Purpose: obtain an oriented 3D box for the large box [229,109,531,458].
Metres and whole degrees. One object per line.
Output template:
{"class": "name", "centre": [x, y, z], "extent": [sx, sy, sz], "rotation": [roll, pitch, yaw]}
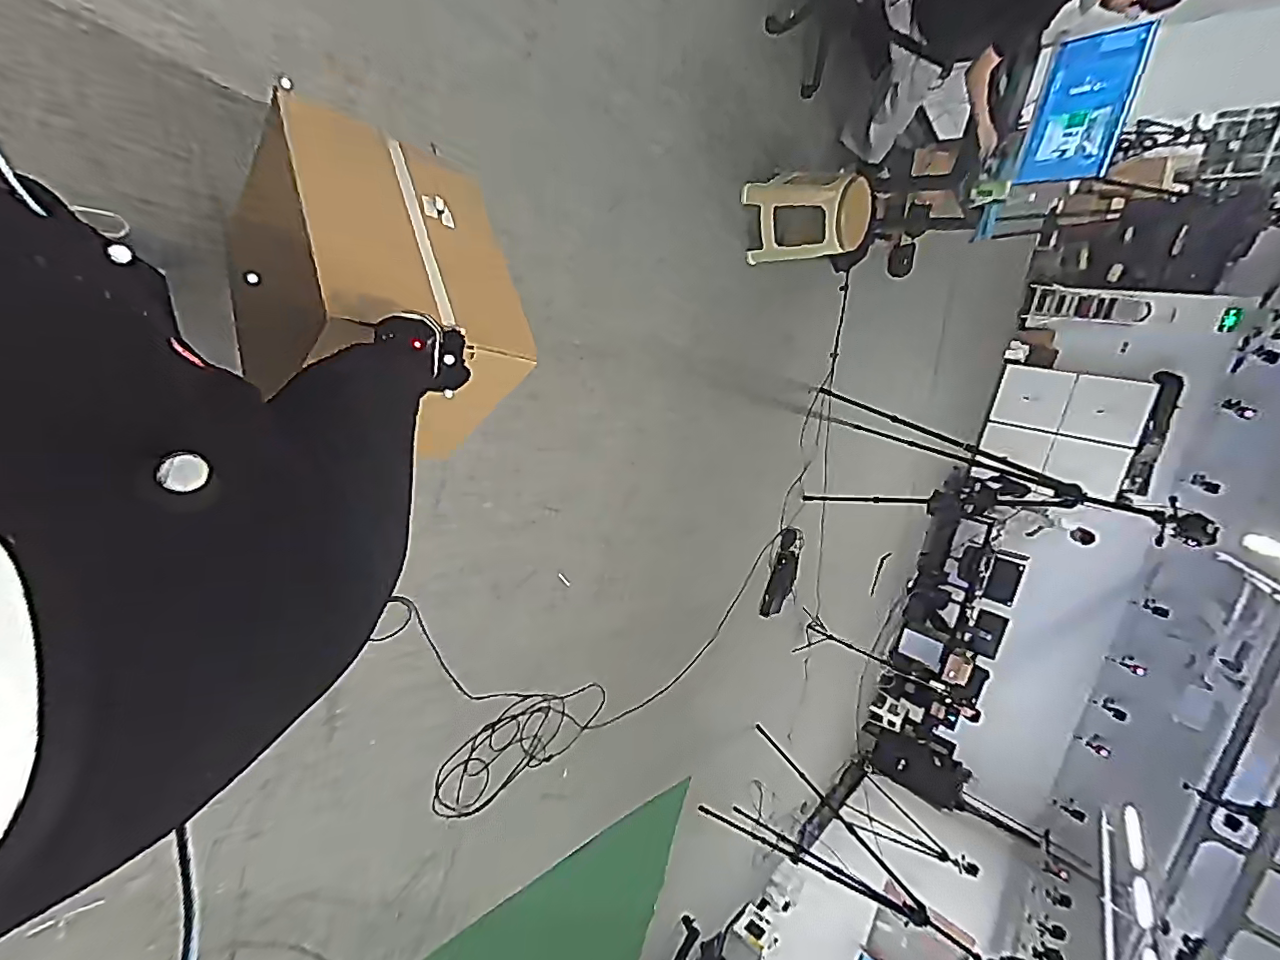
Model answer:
{"class": "large box", "centre": [-0.444, -0.282, 0.902], "extent": [0.320, 0.408, 0.320], "rotation": [-37, 157, 33]}
